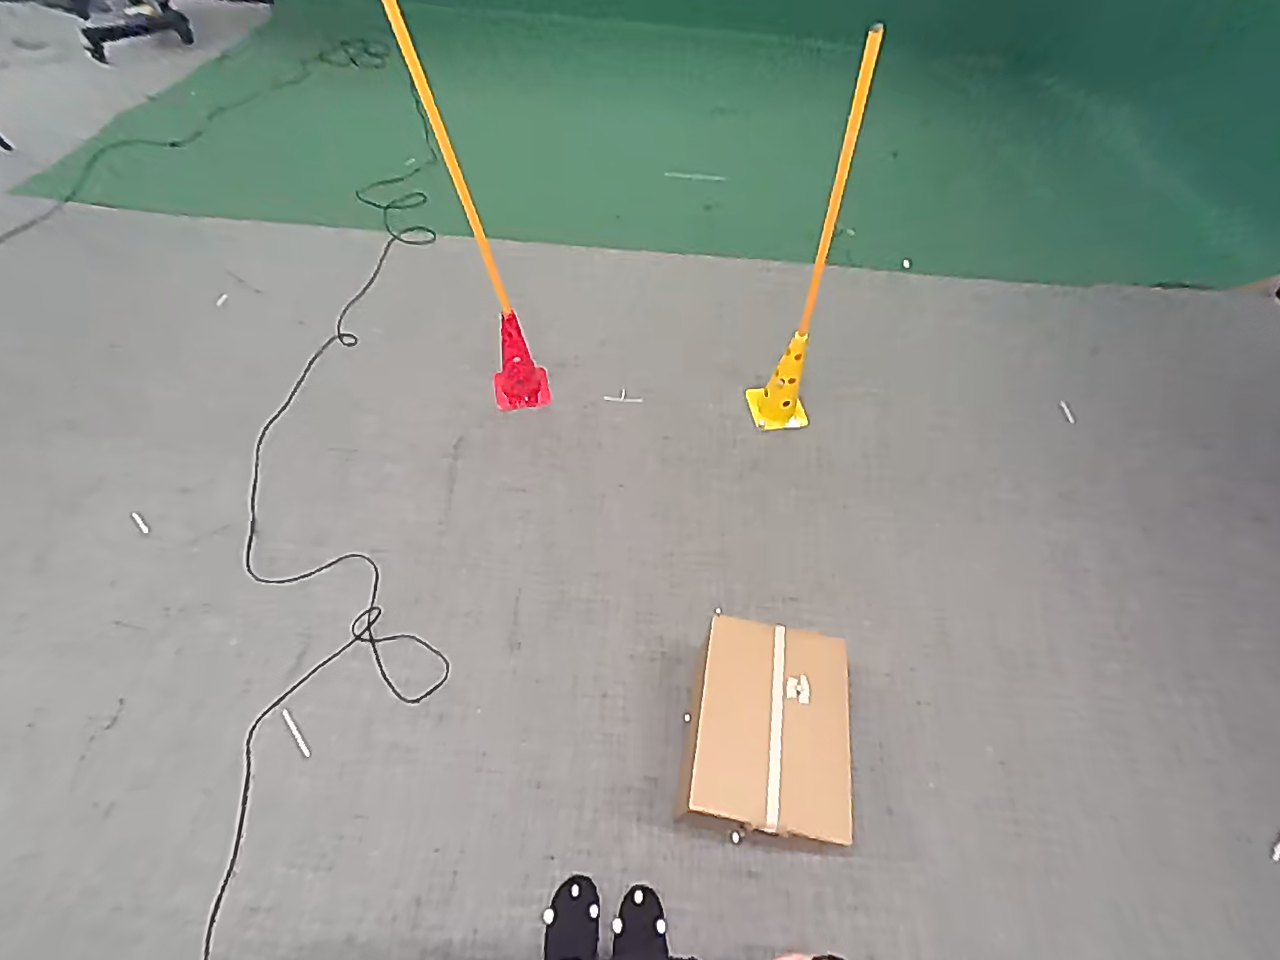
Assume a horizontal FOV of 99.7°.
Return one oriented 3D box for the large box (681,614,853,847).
[{"bbox_3d":[0.280,0.584,1.262,0.320,0.320,0.408,11,53,4],"label":"large box"}]
